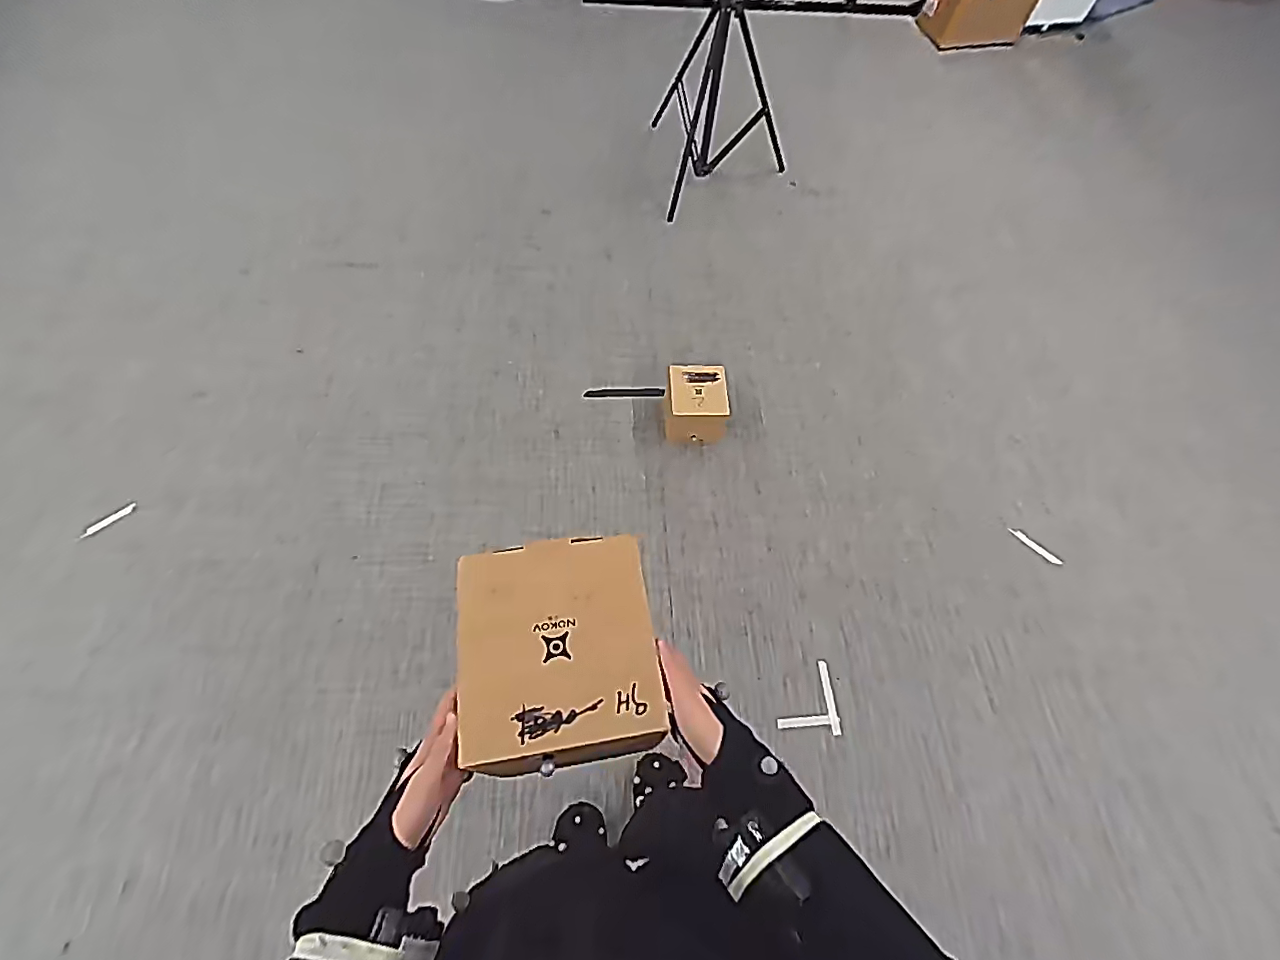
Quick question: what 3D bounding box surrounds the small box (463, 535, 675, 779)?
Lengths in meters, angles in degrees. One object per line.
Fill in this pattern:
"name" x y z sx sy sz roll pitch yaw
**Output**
"small box" -0.070 0.175 0.525 0.168 0.176 0.179 -7 59 -8
